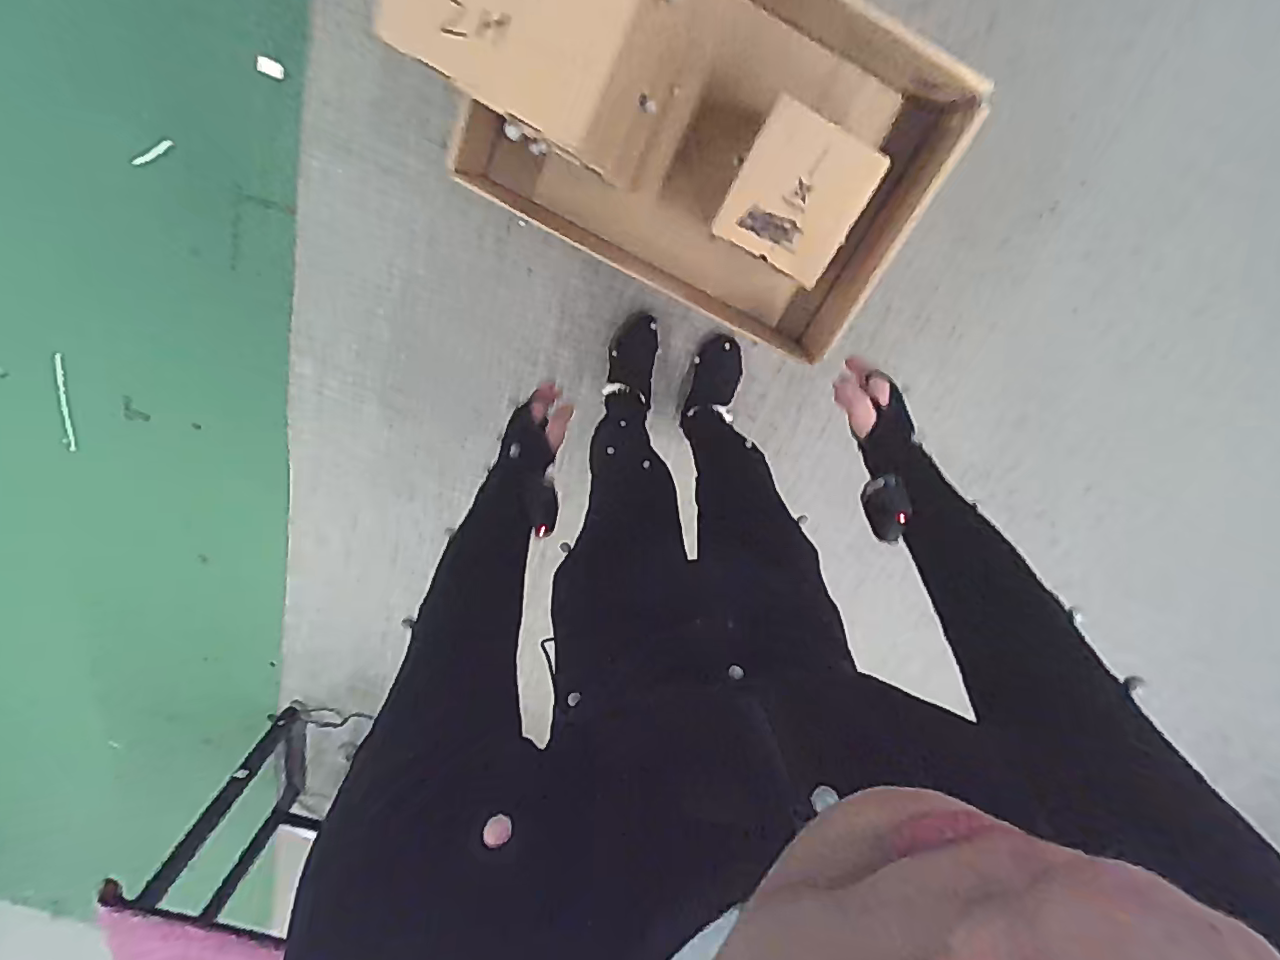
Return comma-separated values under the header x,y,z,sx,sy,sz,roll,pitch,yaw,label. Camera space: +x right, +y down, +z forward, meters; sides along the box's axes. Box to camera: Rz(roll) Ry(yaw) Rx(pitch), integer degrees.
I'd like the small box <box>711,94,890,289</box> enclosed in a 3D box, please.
x,y,z,sx,sy,sz,roll,pitch,yaw,label
0.216,-0.403,0.778,0.168,0.176,0.179,27,115,-8,small box

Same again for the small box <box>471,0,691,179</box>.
x,y,z,sx,sy,sz,roll,pitch,yaw,label
-0.059,-0.461,0.595,0.168,0.176,0.179,27,116,-9,small box

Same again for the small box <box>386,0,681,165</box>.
x,y,z,sx,sy,sz,roll,pitch,yaw,label
-0.070,-0.392,0.445,0.168,0.176,0.179,28,115,-8,small box
